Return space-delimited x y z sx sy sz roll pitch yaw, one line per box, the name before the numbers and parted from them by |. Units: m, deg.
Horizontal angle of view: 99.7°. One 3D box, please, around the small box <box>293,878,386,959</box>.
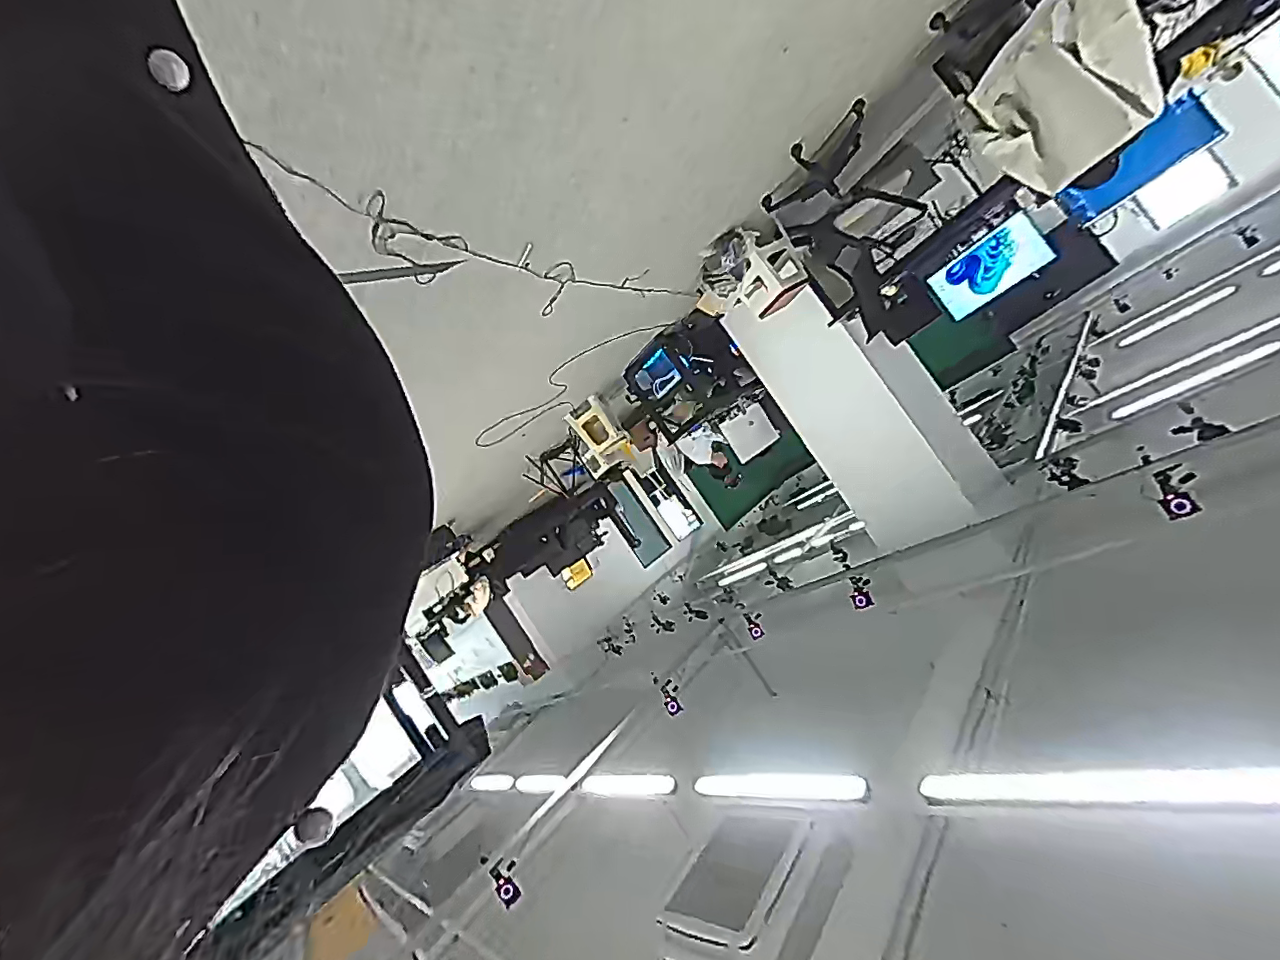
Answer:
small box | -0.872 1.293 1.561 0.168 0.176 0.179 -33 178 -43
